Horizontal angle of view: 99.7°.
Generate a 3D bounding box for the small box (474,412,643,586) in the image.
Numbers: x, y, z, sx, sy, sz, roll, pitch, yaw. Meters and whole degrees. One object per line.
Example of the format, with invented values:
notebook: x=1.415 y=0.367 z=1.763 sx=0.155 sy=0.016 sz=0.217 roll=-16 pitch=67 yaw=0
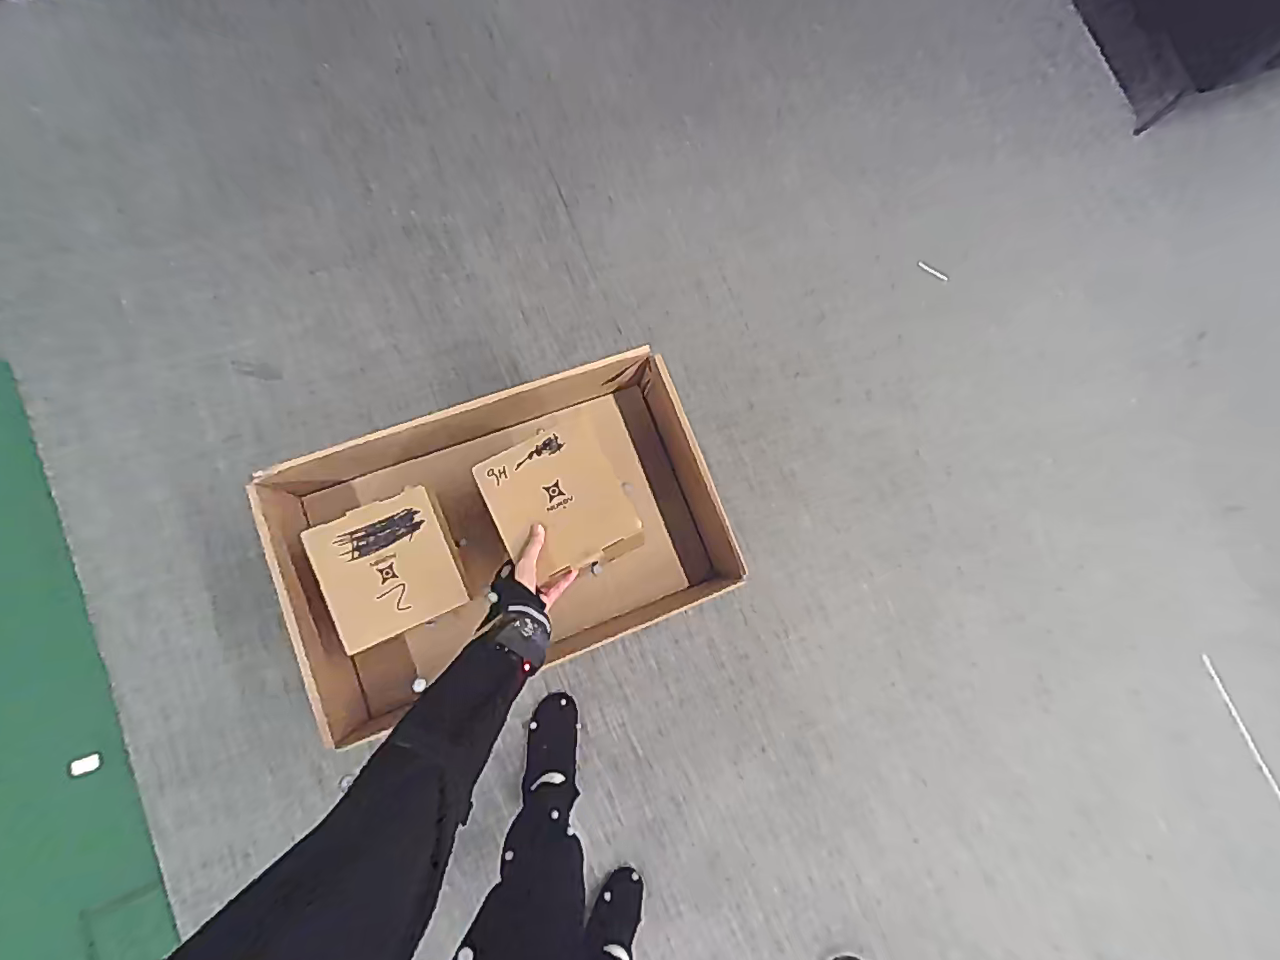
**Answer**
small box: x=-0.102 y=0.035 z=0.757 sx=0.168 sy=0.176 sz=0.179 roll=-26 pitch=79 yaw=-5
